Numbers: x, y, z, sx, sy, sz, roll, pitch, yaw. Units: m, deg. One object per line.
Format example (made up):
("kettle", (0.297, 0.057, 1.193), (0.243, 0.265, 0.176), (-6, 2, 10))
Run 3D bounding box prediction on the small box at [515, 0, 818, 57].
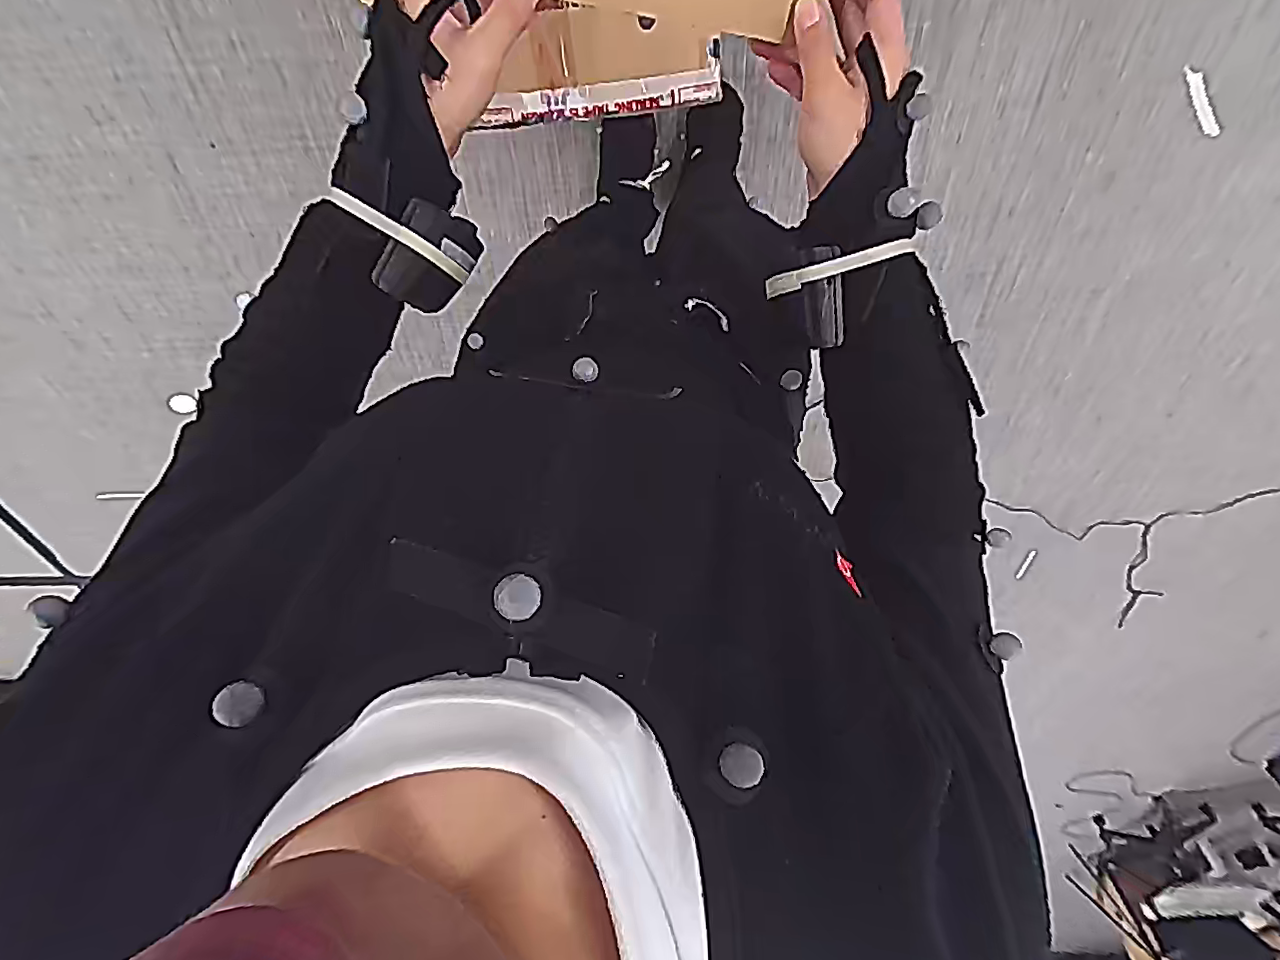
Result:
("small box", (0.024, -0.377, 0.312), (0.179, 0.176, 0.168), (6, 137, -6))
